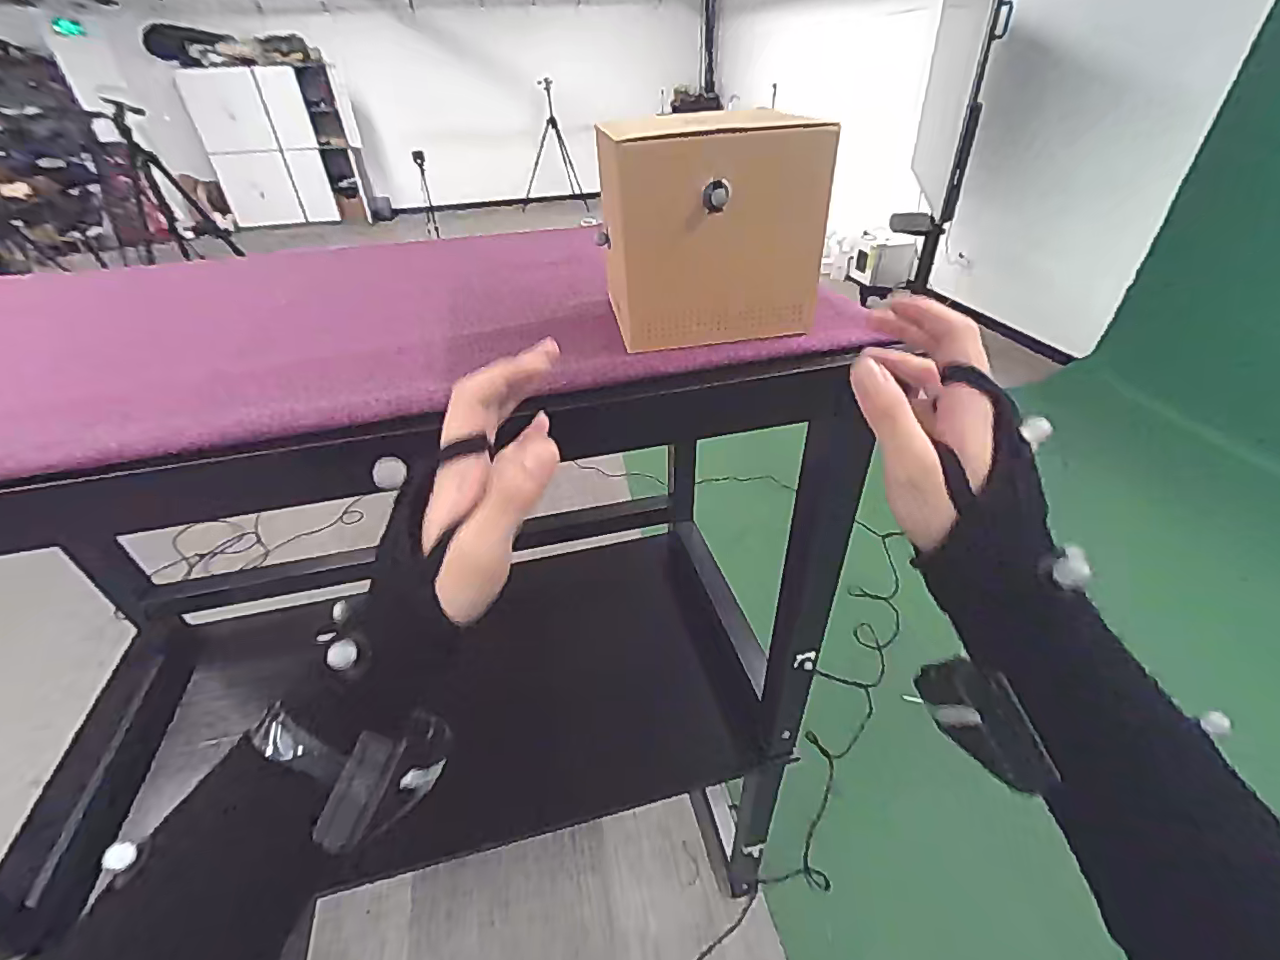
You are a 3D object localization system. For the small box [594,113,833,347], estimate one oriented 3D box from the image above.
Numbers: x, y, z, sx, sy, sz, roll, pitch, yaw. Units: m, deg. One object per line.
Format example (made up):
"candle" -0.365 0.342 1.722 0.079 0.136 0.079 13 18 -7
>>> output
"small box" 0.057 -0.236 0.511 0.179 0.176 0.168 -7 38 -4
